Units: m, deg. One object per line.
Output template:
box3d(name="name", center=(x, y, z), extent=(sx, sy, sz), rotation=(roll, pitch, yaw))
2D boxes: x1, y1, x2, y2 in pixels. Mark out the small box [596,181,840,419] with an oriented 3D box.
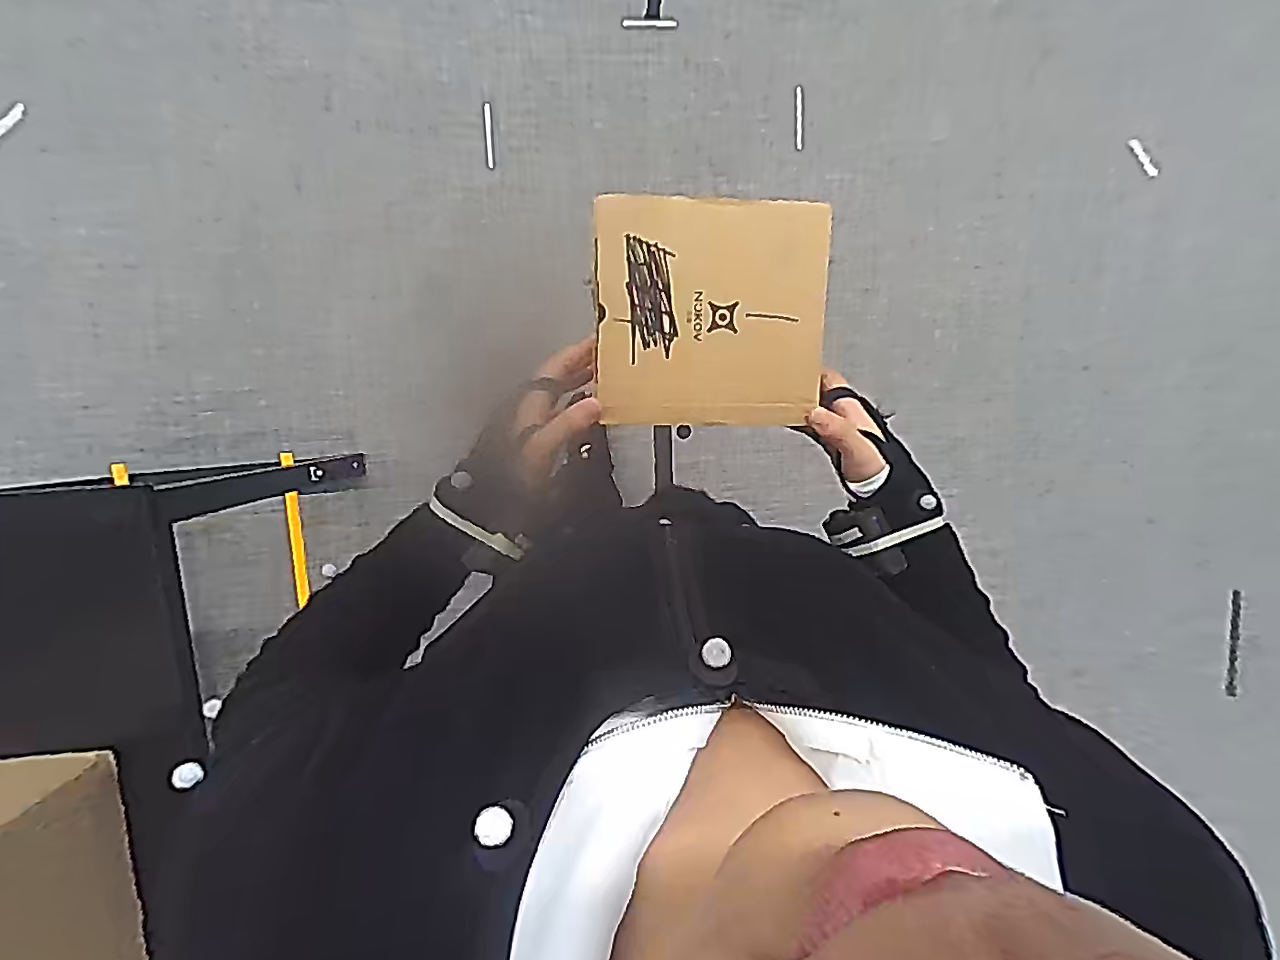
box3d(name="small box", center=(0.051, -0.143, 0.477), extent=(0.179, 0.176, 0.168), rotation=(1, 101, -5))
